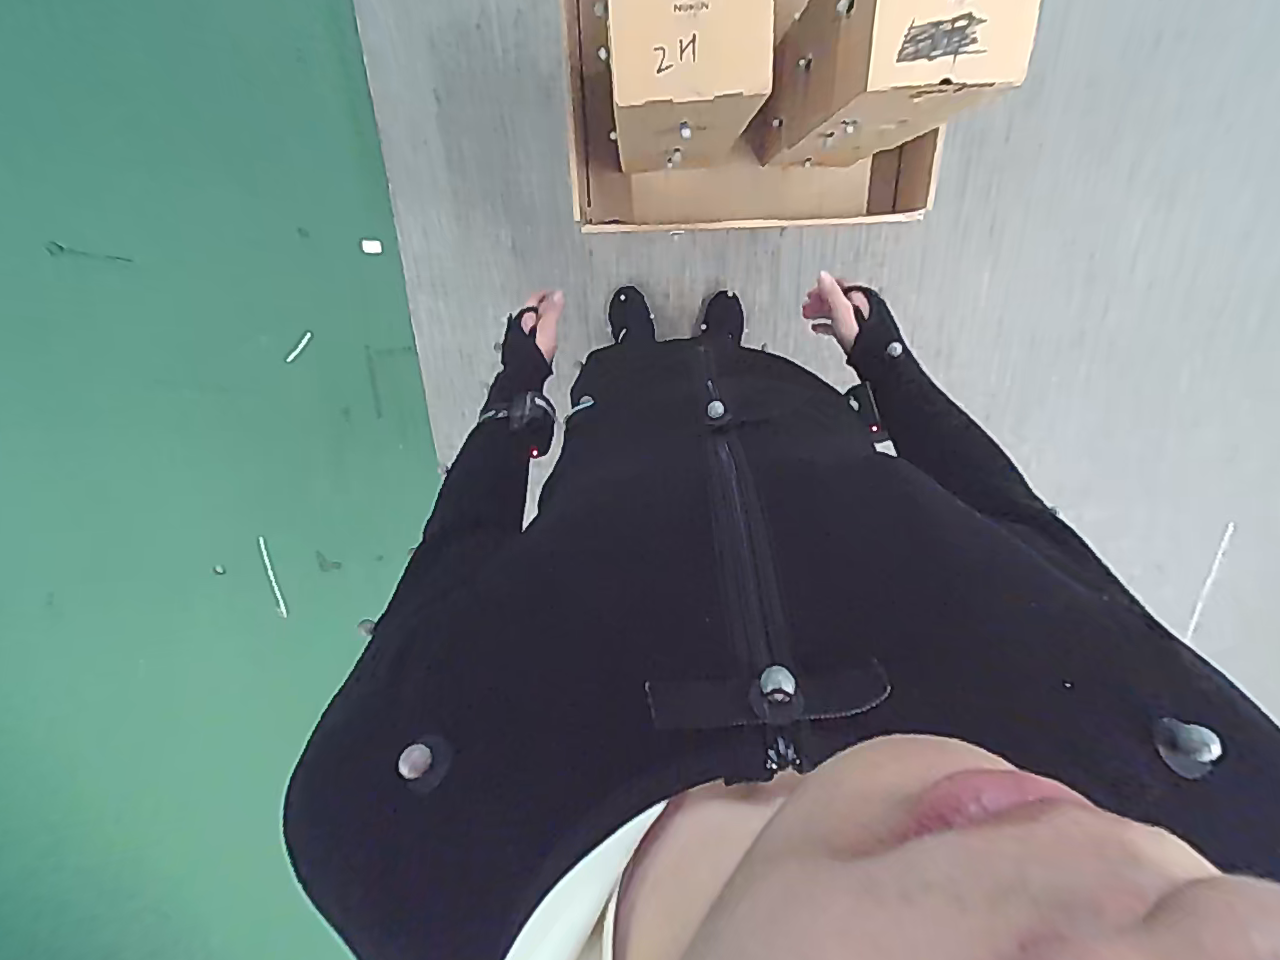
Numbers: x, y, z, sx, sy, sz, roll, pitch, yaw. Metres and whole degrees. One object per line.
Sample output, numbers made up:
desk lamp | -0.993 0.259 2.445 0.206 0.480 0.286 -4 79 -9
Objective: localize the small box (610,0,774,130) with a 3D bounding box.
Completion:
small box | 0.051 -0.514 0.601 0.168 0.176 0.179 -3 113 2

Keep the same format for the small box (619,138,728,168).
small box | 0.051 -0.634 0.908 0.179 0.176 0.168 -3 112 0

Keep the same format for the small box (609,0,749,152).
small box | 0.051 -0.572 0.756 0.179 0.176 0.168 -4 112 2

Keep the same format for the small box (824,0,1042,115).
small box | 0.313 -0.521 0.596 0.168 0.176 0.179 -1 111 1
